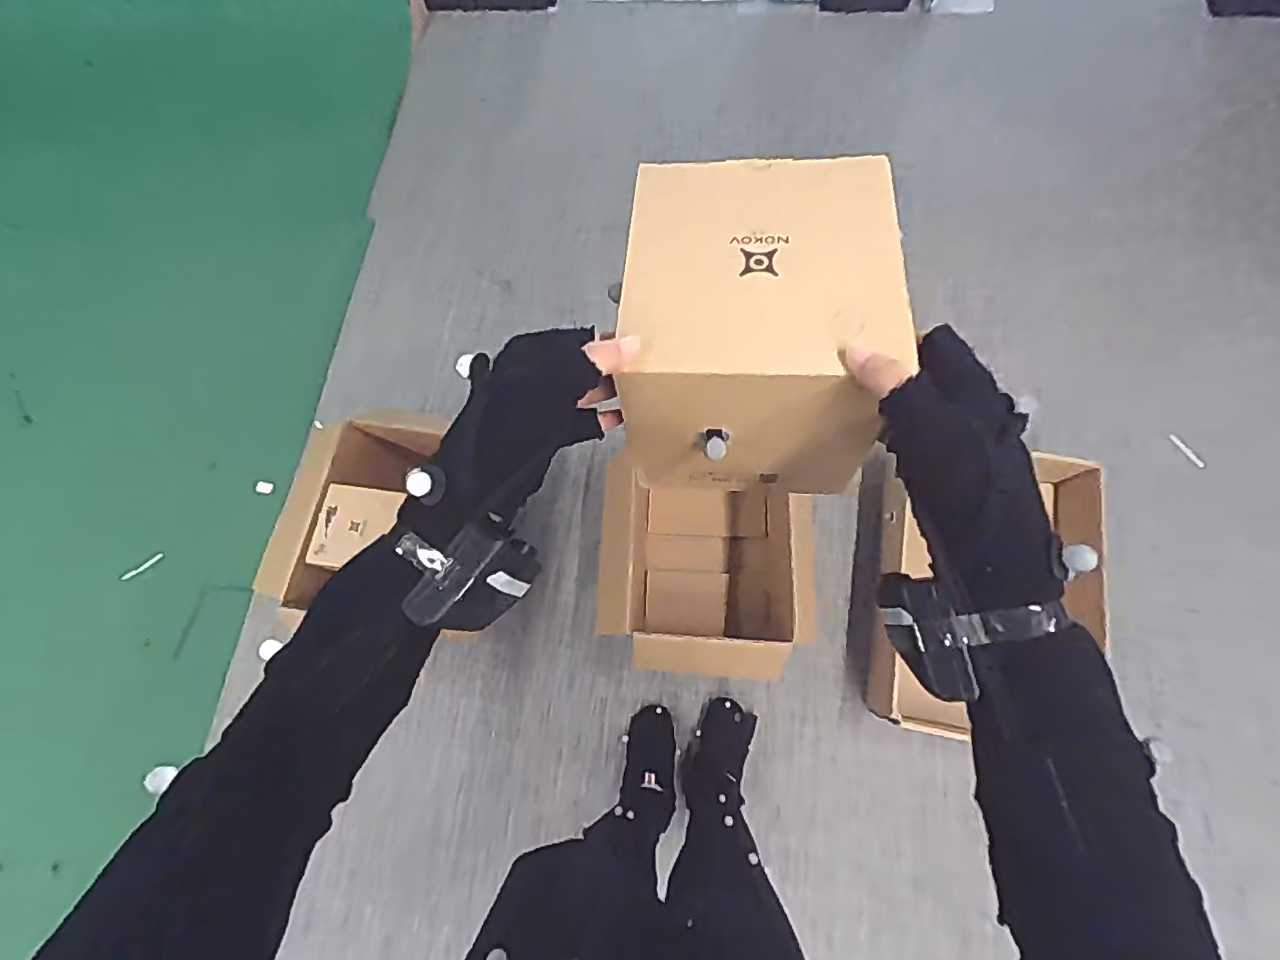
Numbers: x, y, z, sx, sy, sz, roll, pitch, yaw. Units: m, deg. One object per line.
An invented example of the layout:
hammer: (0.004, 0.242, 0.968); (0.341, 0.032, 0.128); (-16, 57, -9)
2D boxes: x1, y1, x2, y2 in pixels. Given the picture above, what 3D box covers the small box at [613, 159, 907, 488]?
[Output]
small box: (0.080, -0.102, 0.407); (0.168, 0.176, 0.179); (1, 66, 7)
